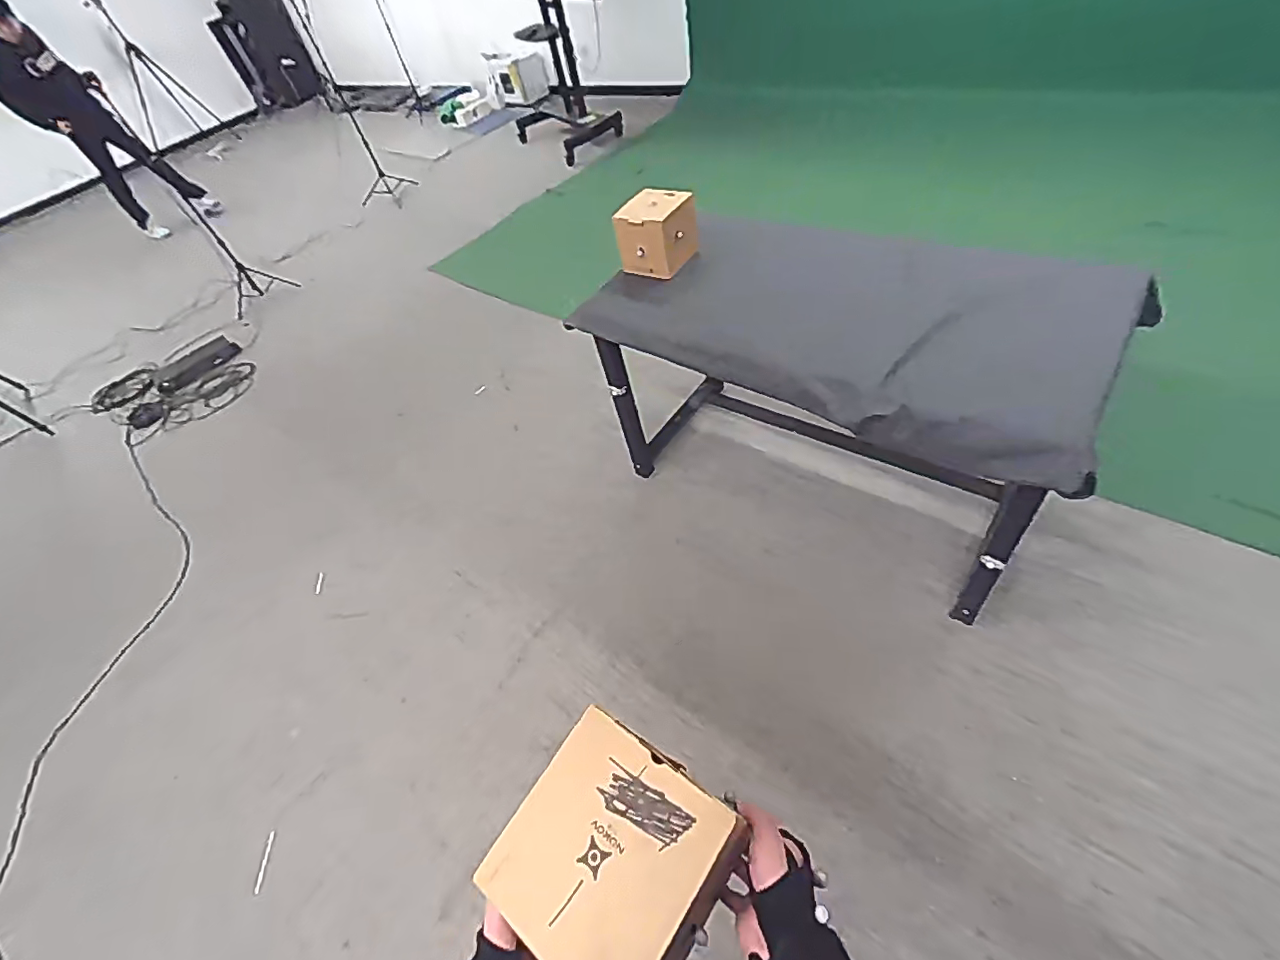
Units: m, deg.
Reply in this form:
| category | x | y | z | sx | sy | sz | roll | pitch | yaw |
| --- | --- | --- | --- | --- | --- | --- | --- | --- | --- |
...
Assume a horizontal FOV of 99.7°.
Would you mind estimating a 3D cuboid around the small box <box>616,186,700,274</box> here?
| category | x | y | z | sx | sy | sz | roll | pitch | yaw |
| --- | --- | --- | --- | --- | --- | --- | --- | --- | --- |
| small box | 0.059 | -0.717 | 1.553 | 0.168 | 0.176 | 0.179 | 22 | 60 | 28 |
